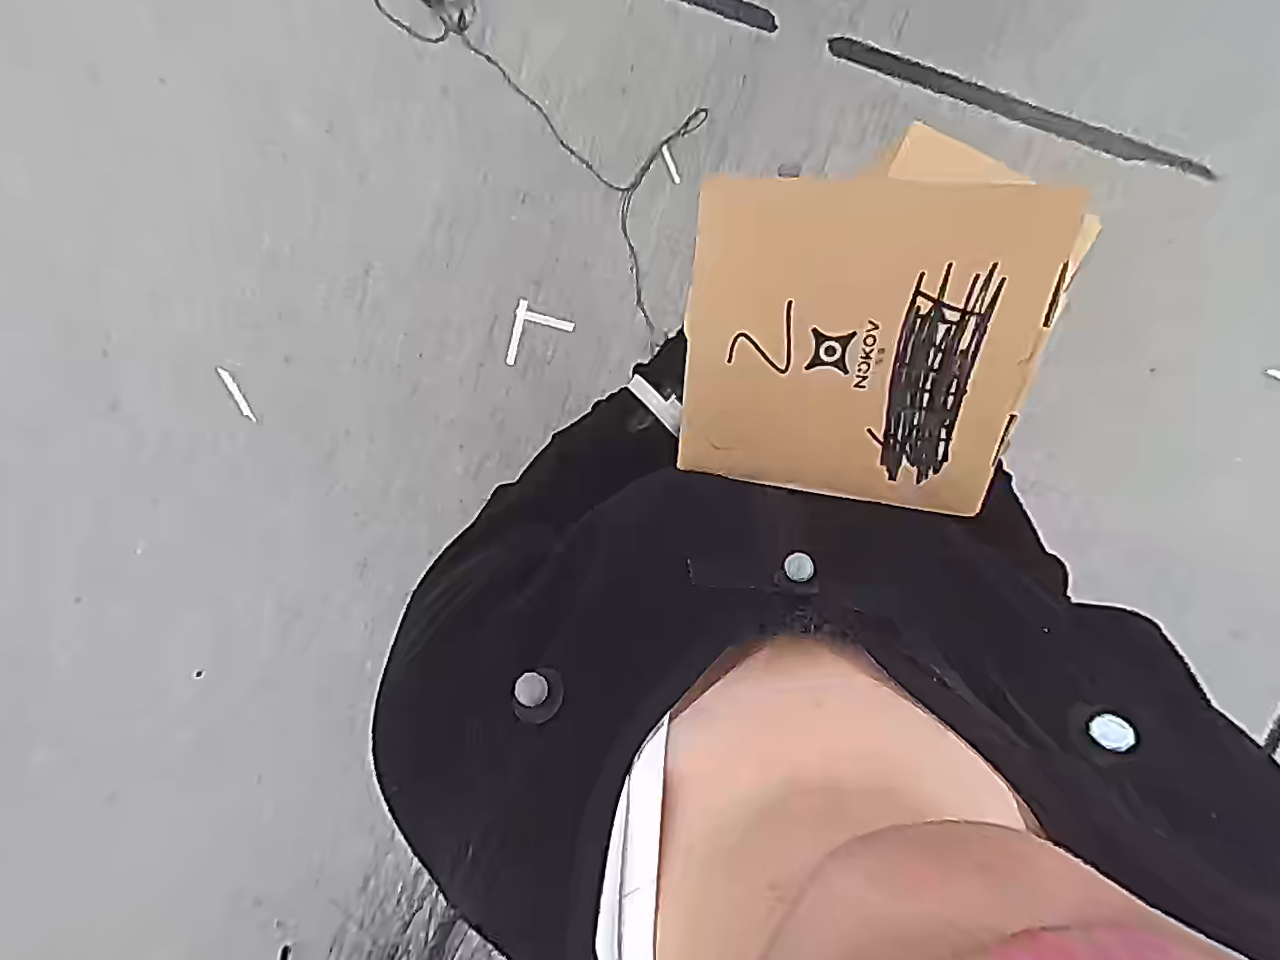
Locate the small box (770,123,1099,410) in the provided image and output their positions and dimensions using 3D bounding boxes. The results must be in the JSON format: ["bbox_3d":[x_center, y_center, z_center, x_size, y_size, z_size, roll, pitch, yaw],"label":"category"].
[{"bbox_3d":[0.253,-0.179,0.512,0.179,0.176,0.168,26,95,-6],"label":"small box"}]
